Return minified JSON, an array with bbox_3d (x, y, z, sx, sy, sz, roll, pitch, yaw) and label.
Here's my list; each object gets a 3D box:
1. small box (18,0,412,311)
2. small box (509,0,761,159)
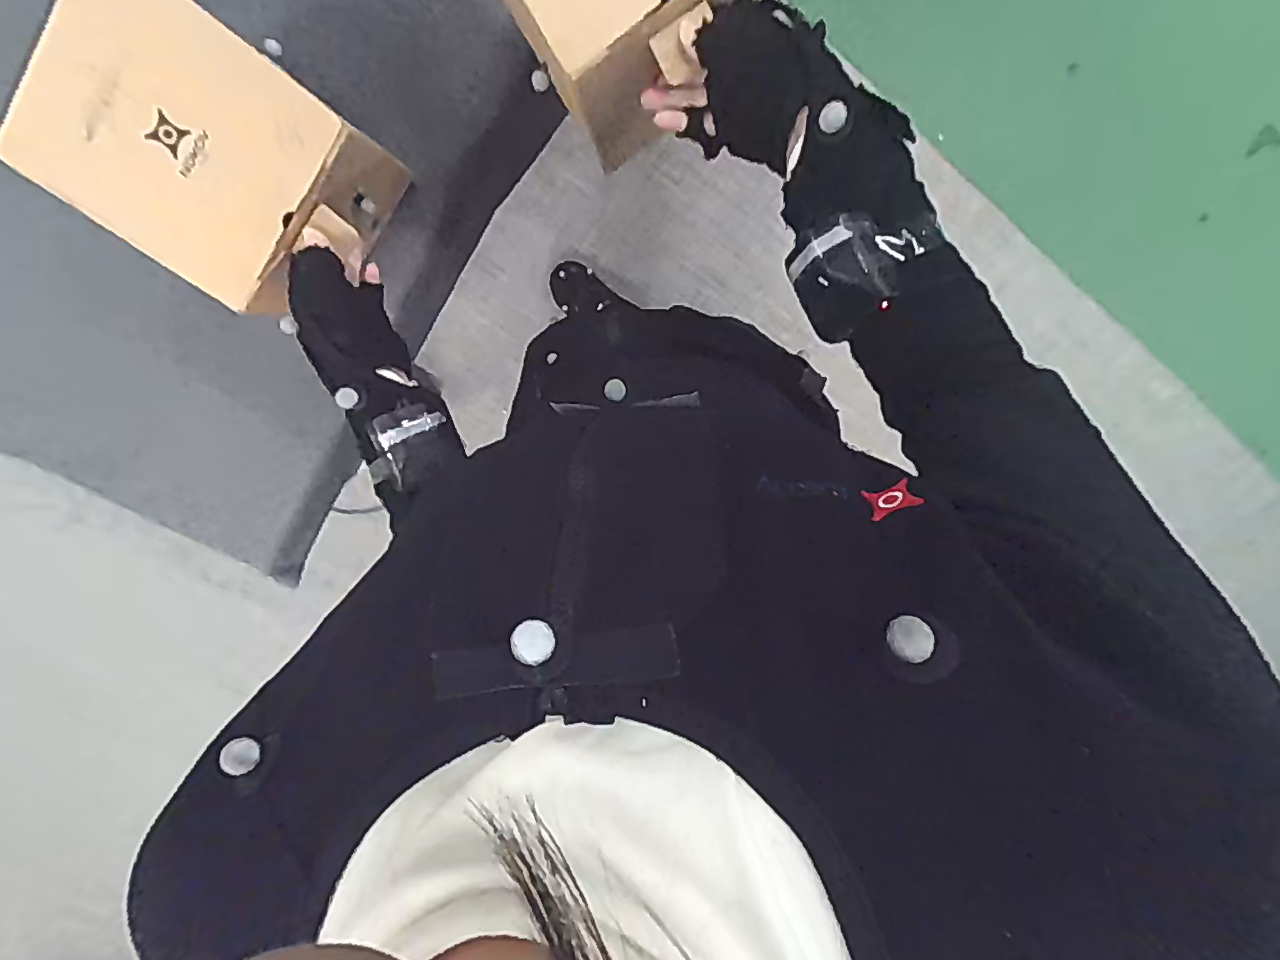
[{"bbox_3d":[-0.329,-0.268,0.463,0.179,0.176,0.168,36,100,-15],"label":"small box"},{"bbox_3d":[-0.012,-0.392,0.428,0.168,0.176,0.179,-30,96,9],"label":"small box"}]
